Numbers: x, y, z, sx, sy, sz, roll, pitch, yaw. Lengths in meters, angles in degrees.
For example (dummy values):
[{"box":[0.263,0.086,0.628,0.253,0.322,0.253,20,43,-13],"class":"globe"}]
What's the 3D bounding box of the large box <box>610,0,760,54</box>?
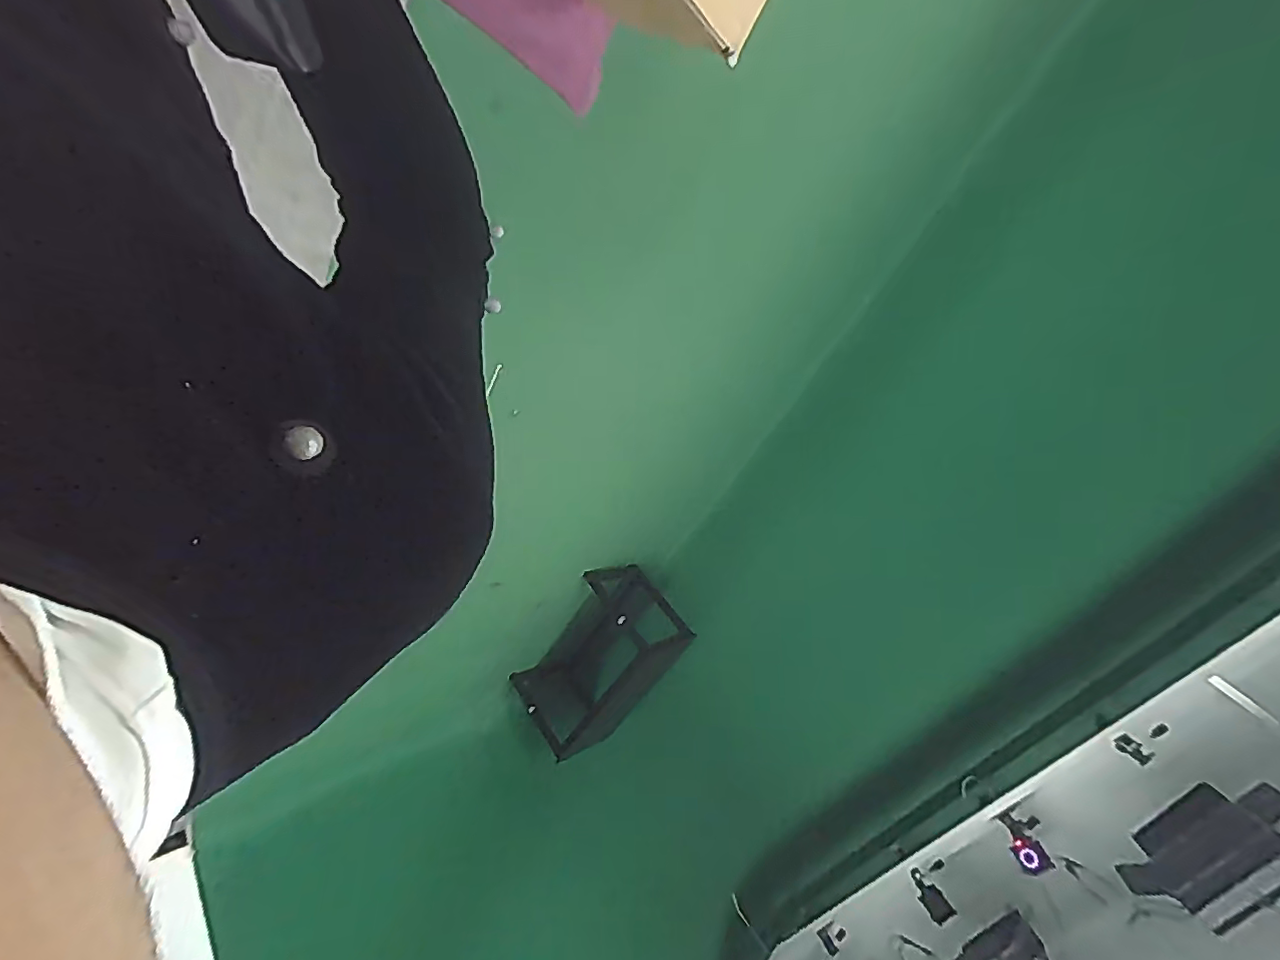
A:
[{"box":[0.022,-0.747,0.507,0.320,0.320,0.408,-1,132,-51],"class":"large box"}]
